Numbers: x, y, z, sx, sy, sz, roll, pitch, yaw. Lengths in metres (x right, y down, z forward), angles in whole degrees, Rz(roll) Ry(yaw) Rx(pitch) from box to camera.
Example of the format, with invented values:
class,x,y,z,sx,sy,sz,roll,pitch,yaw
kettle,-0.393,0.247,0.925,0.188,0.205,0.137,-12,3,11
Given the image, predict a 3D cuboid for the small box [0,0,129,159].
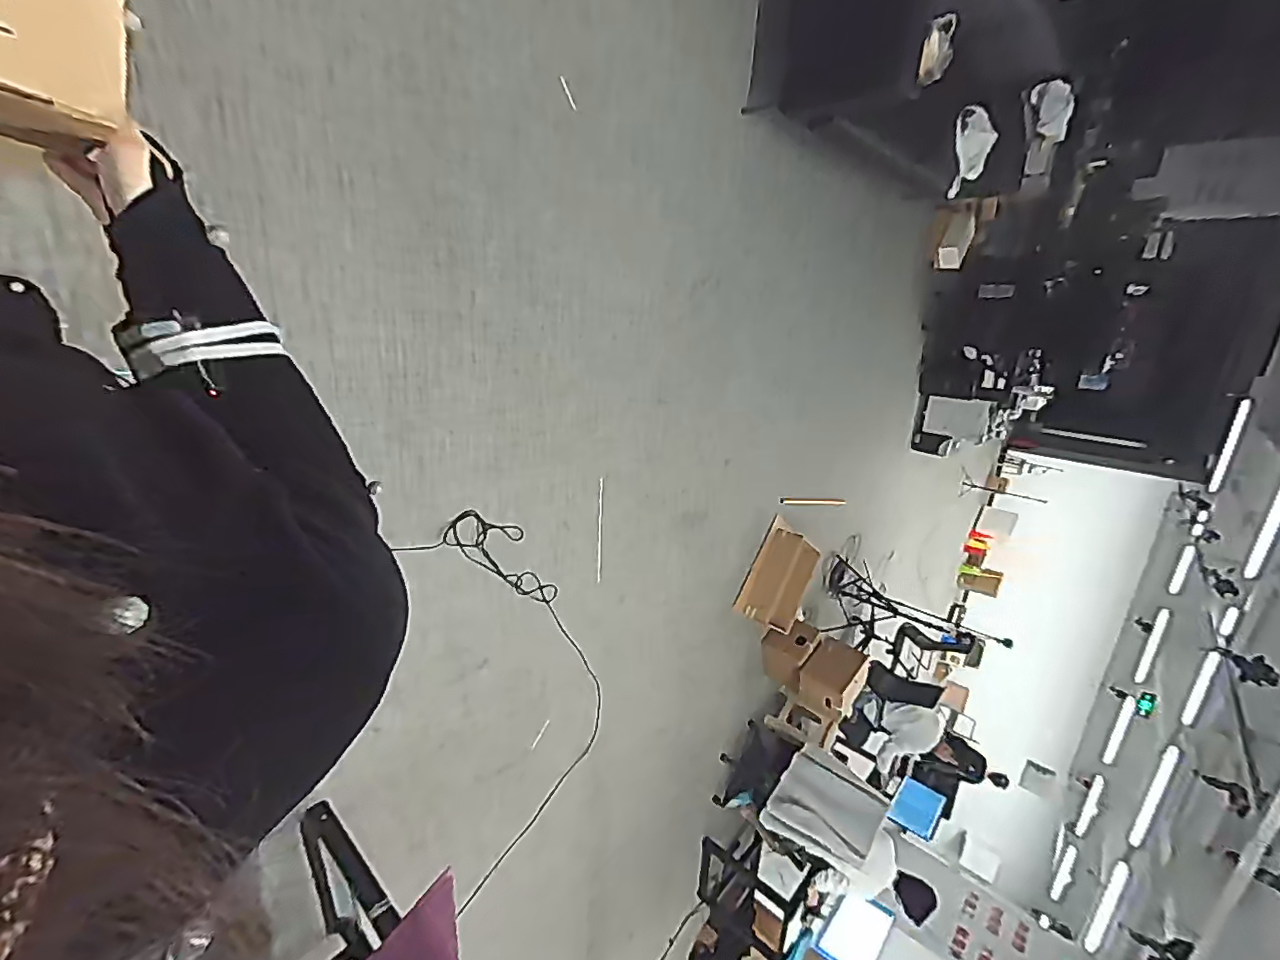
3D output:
class,x,y,z,sx,sy,sz,roll,pitch,yaw
small box,-0.408,-0.305,0.298,0.168,0.176,0.179,-4,107,-52
